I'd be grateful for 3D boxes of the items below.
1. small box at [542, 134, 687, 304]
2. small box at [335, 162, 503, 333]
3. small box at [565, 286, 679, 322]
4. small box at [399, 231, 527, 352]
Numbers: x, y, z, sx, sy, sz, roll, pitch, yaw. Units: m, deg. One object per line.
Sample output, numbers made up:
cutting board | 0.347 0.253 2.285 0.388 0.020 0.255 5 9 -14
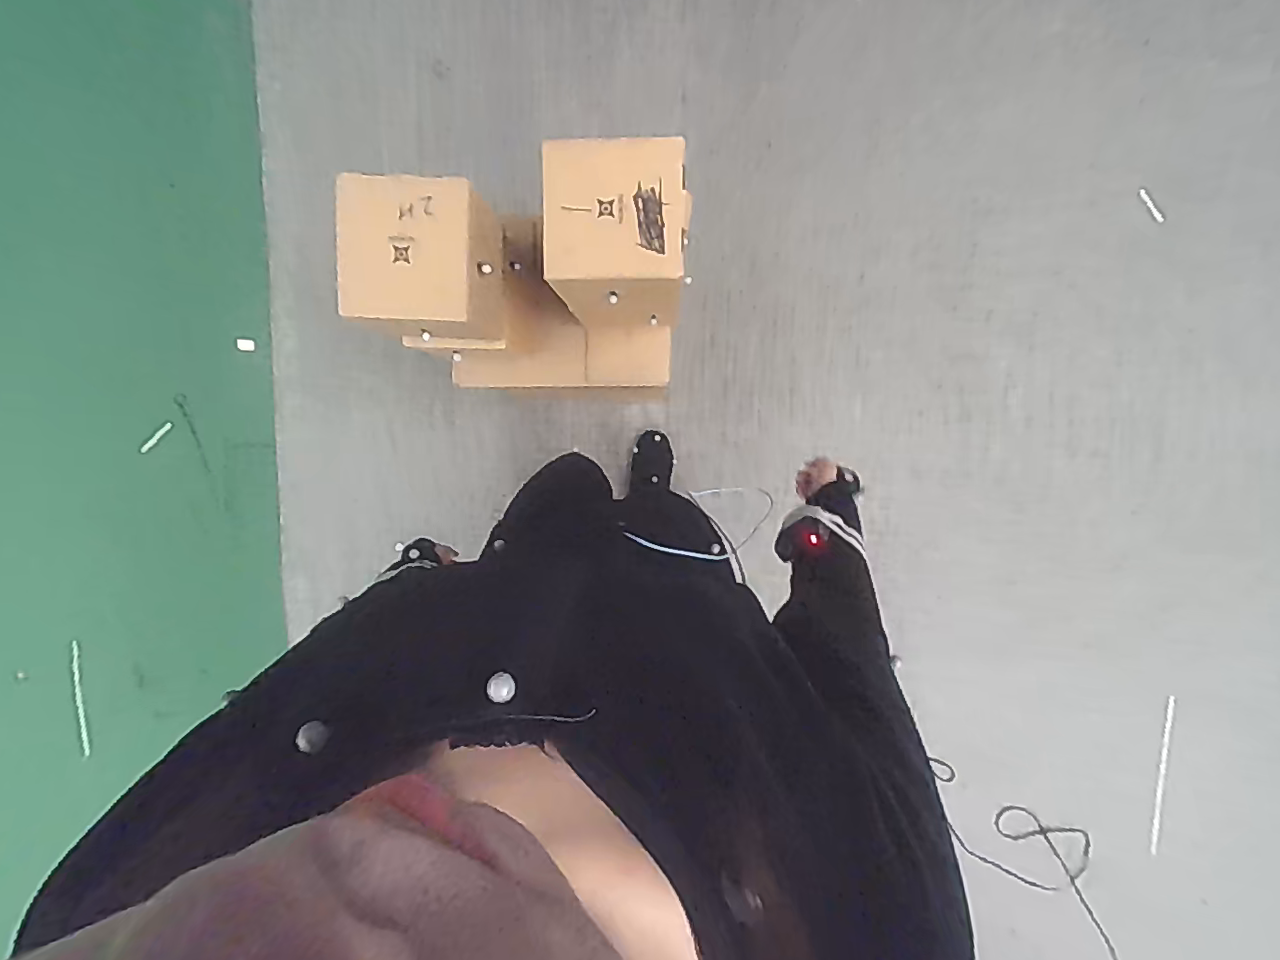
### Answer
small box | -0.029 -0.342 0.736 0.179 0.176 0.168 2 97 3
small box | -0.293 -0.305 0.746 0.168 0.176 0.179 4 98 0
small box | -0.024 -0.362 0.899 0.179 0.176 0.168 1 97 3
small box | -0.290 -0.313 0.912 0.168 0.176 0.179 3 97 0
